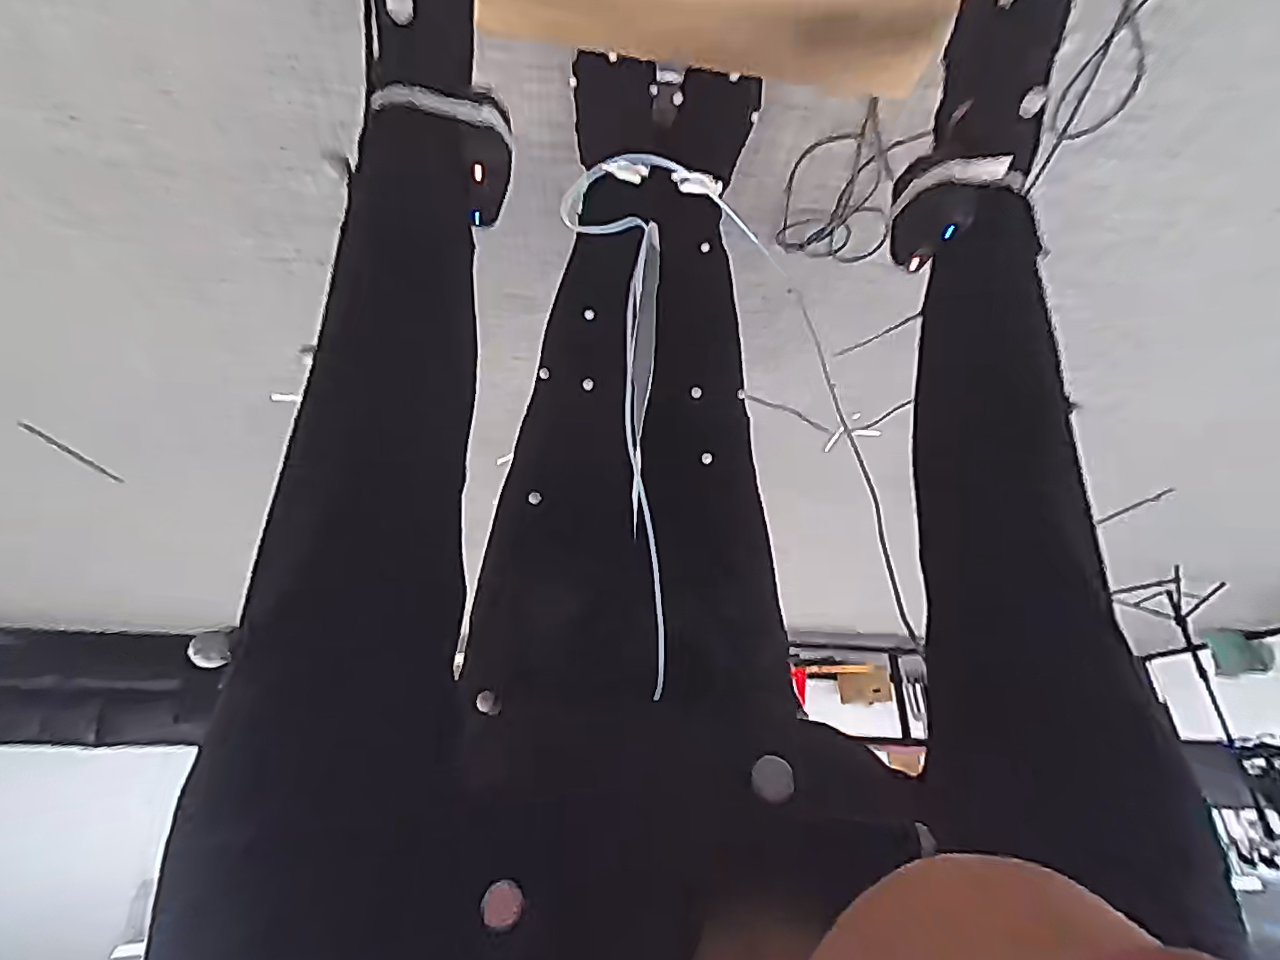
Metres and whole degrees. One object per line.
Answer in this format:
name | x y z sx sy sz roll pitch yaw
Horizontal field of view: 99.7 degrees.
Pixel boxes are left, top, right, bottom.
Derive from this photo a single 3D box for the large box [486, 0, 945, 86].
large box | 0.077 -0.595 0.442 0.408 0.320 0.320 4 153 -6
